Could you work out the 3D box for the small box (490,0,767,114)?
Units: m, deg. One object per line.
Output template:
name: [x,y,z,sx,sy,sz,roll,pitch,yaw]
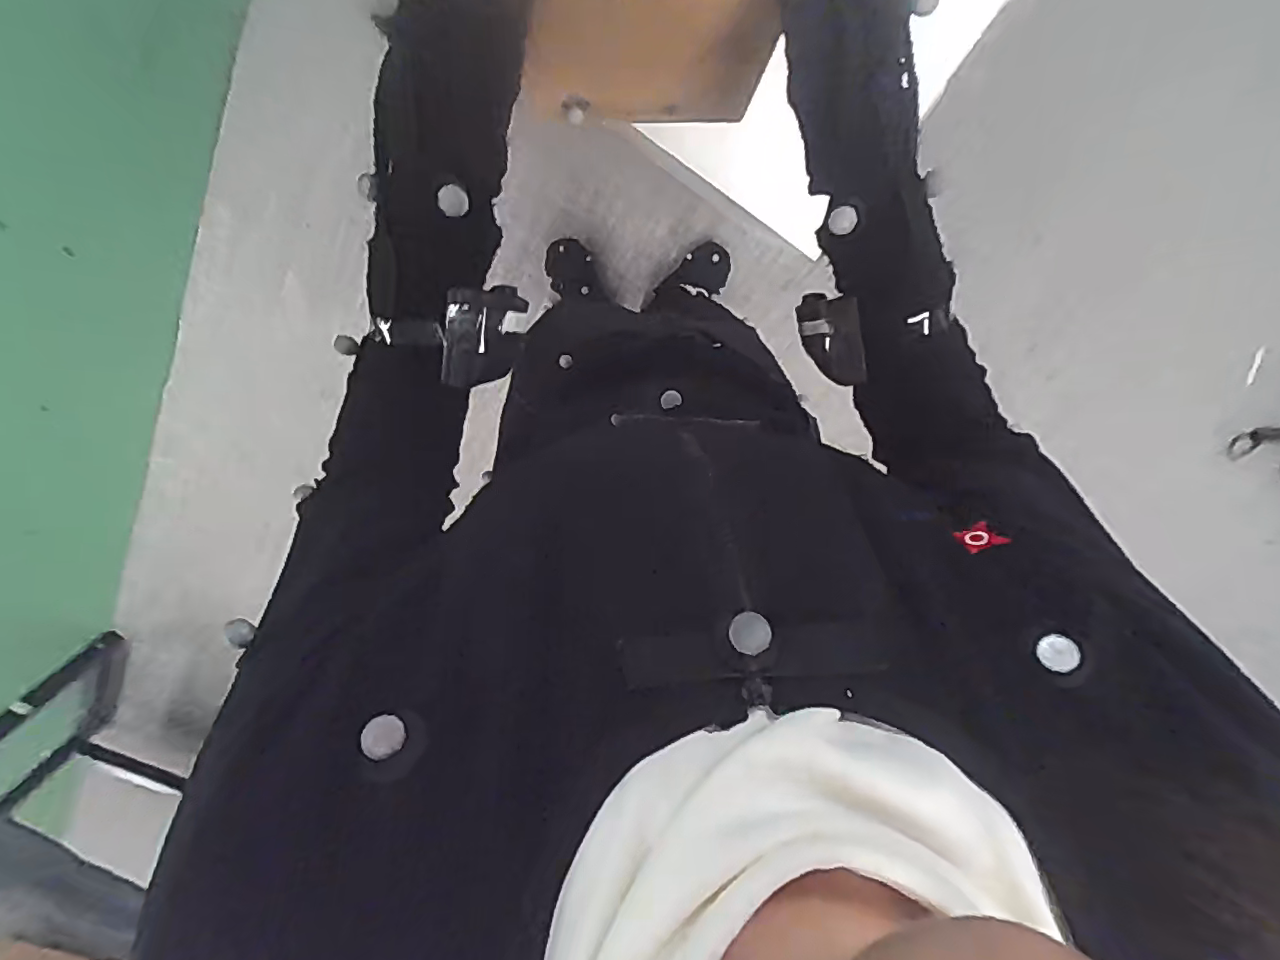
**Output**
small box: [-0.007,-0.358,0.337,0.168,0.176,0.179,-3,97,-2]
